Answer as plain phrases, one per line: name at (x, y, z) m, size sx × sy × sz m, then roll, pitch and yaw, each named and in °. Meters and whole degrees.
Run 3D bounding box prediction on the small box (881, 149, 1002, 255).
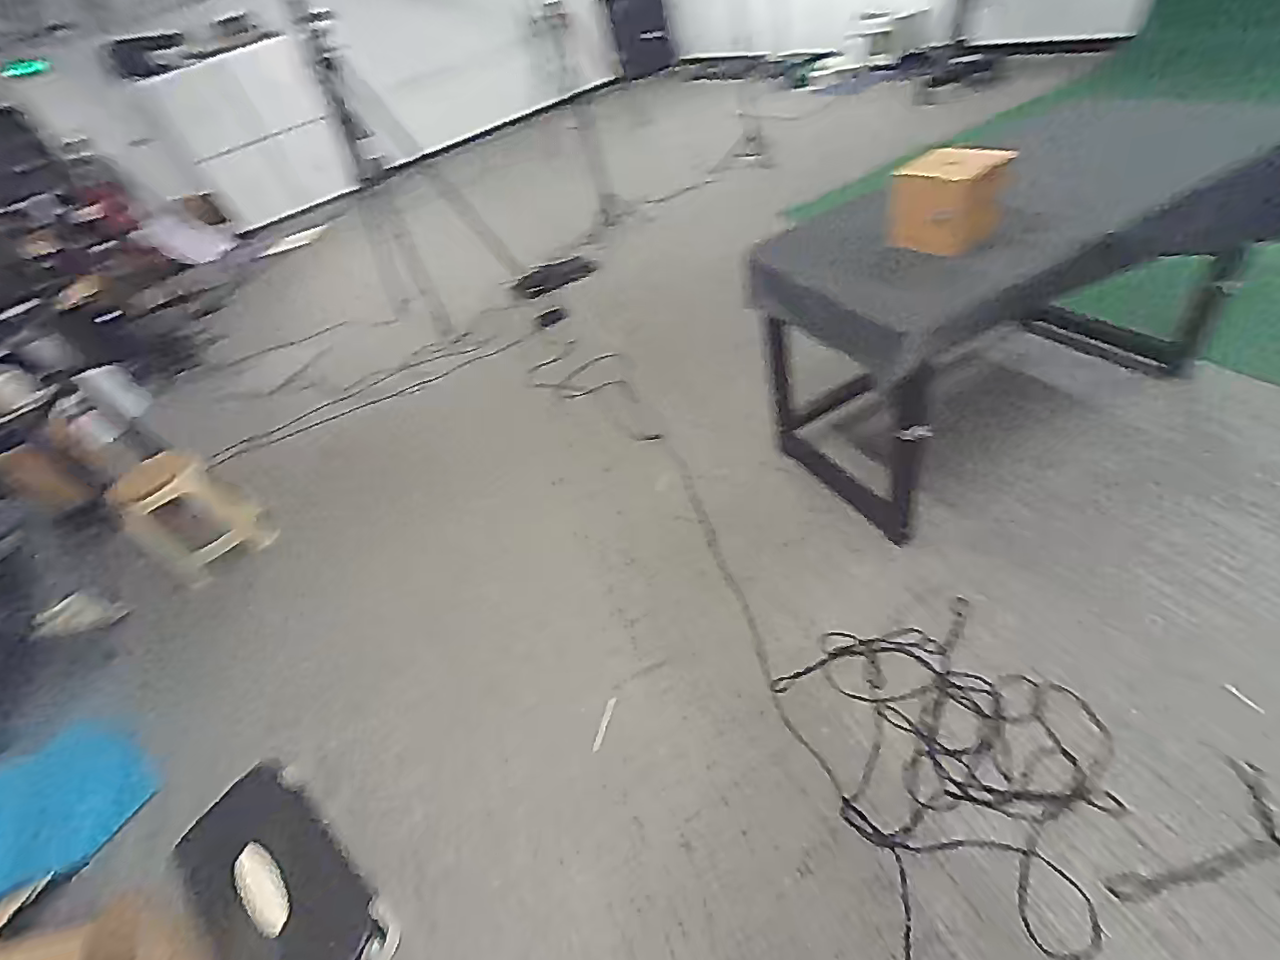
small box at (0.684, -0.638, 1.244) m, size 0.168 × 0.176 × 0.179 m, roll -32°, pitch 43°, yaw -16°
